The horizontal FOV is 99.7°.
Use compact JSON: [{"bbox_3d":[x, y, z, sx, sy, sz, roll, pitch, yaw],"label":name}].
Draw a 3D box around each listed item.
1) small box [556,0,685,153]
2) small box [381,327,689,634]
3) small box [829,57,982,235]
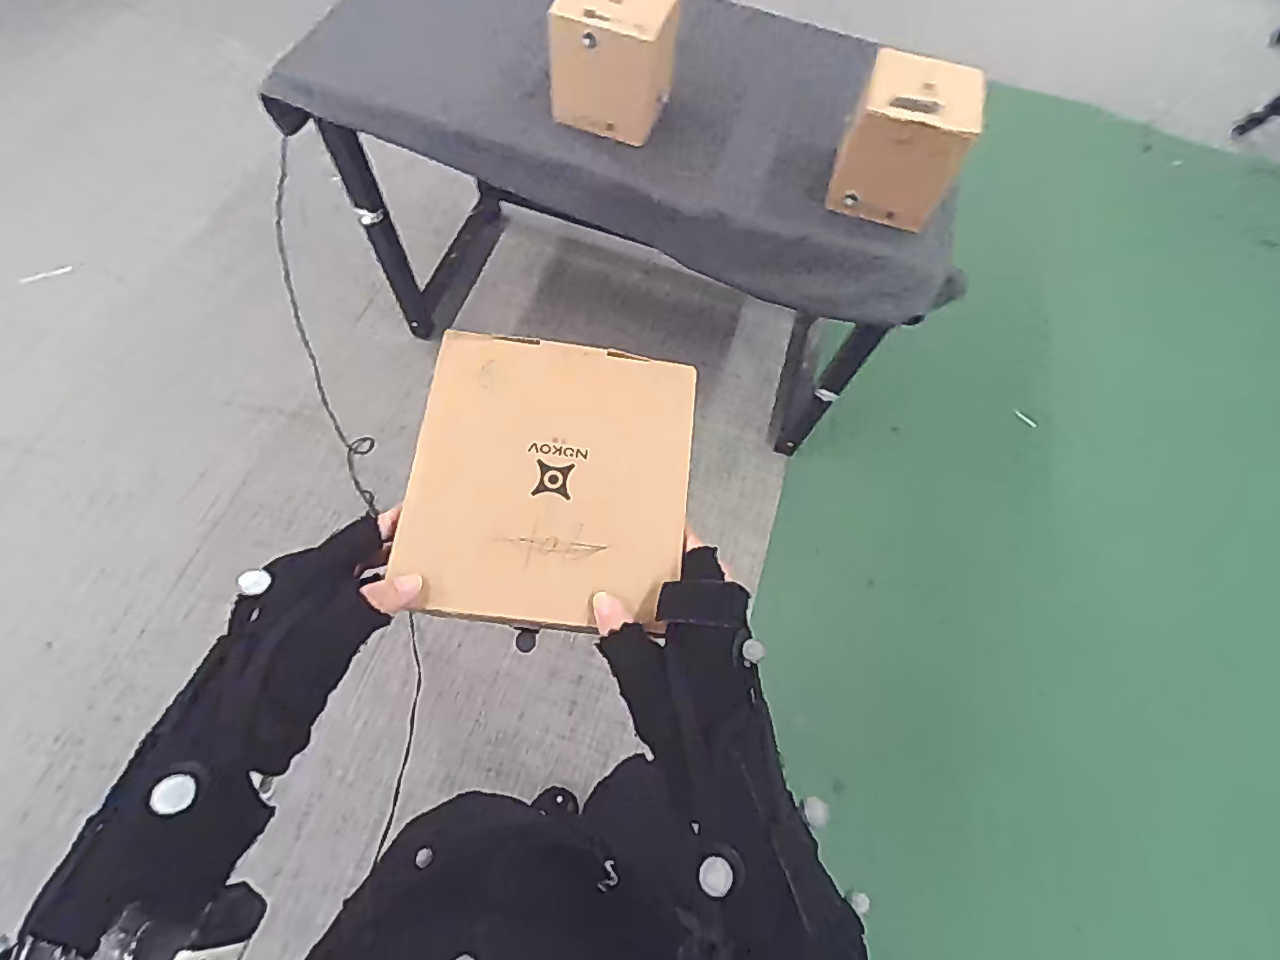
[{"bbox_3d":[-0.035,-0.705,0.920,0.168,0.176,0.179,18,65,3],"label":"small box"},{"bbox_3d":[-0.065,0.016,0.407,0.168,0.176,0.179,7,72,-5],"label":"small box"},{"bbox_3d":[0.426,-0.540,0.889,0.168,0.176,0.179,18,65,5],"label":"small box"}]
